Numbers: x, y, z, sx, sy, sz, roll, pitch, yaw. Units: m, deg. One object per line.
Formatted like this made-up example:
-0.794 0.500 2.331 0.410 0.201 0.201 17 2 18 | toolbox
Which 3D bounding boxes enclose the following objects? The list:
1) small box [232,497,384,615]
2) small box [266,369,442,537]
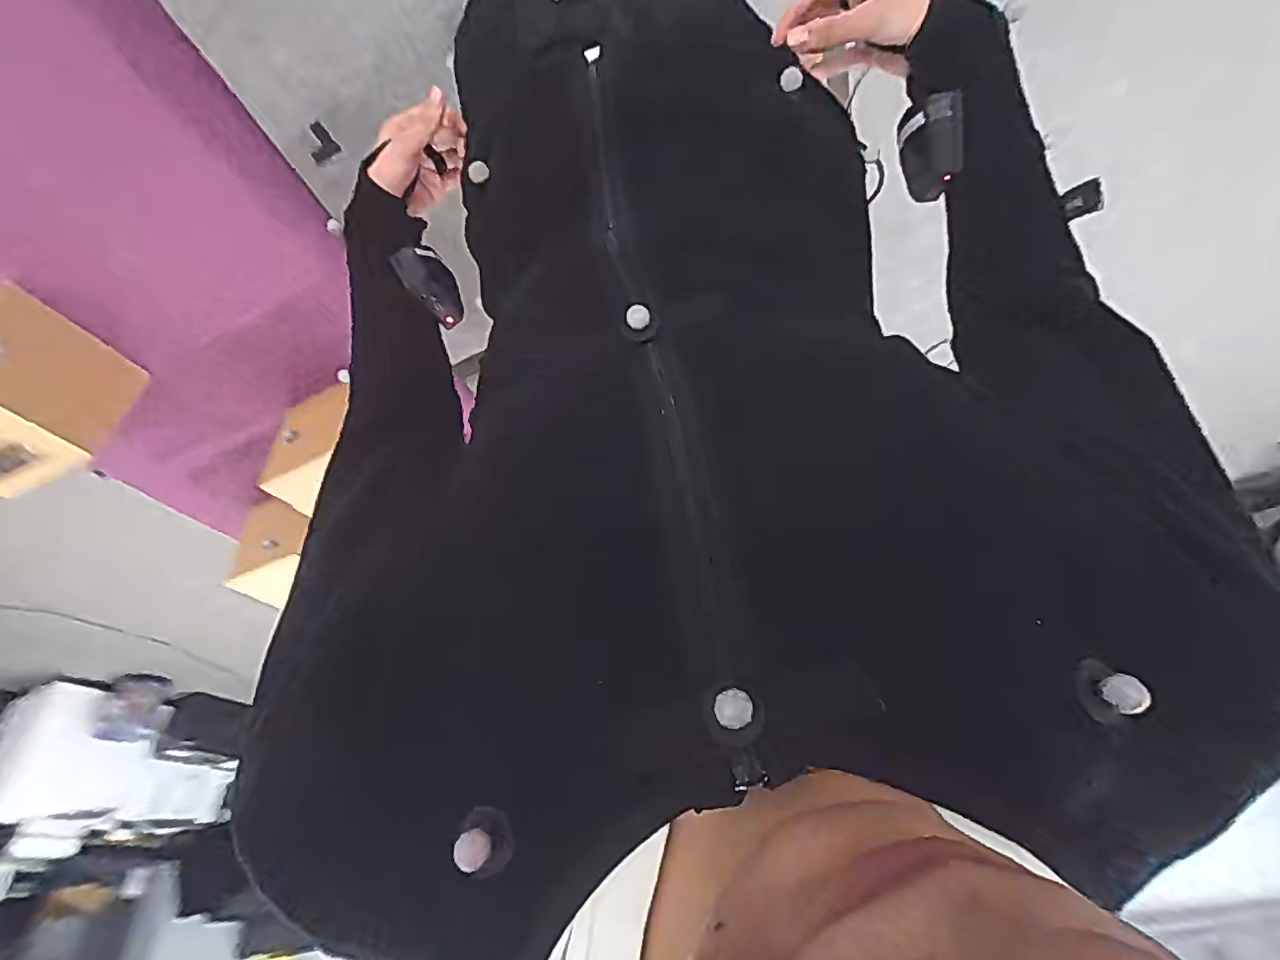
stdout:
-0.618 0.130 1.033 0.179 0.176 0.168 -22 138 15 | small box
-0.440 -0.043 0.865 0.179 0.176 0.168 -23 139 14 | small box
